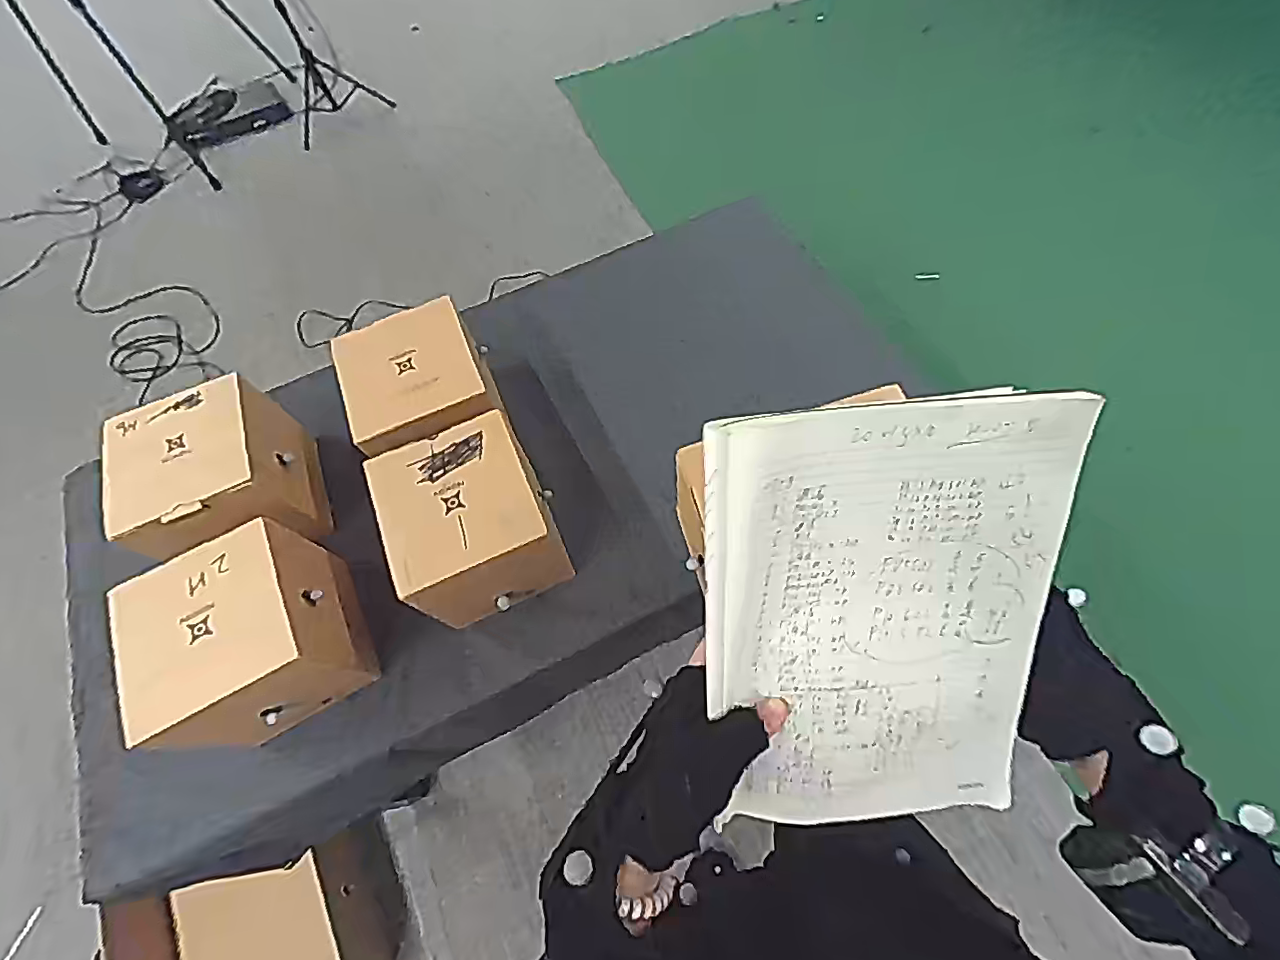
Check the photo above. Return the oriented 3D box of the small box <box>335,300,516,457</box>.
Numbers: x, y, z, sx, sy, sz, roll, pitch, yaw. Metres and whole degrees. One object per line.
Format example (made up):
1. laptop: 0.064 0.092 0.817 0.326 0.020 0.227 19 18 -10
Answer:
1. small box: -0.286 -0.107 0.749 0.168 0.176 0.179 -23 65 -6

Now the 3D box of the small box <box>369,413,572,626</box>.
1. small box: -0.197 0.055 0.660 0.168 0.176 0.179 -23 65 -7

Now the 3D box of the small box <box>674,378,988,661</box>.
1. small box: 0.135 0.044 0.458 0.179 0.176 0.168 -18 72 0
